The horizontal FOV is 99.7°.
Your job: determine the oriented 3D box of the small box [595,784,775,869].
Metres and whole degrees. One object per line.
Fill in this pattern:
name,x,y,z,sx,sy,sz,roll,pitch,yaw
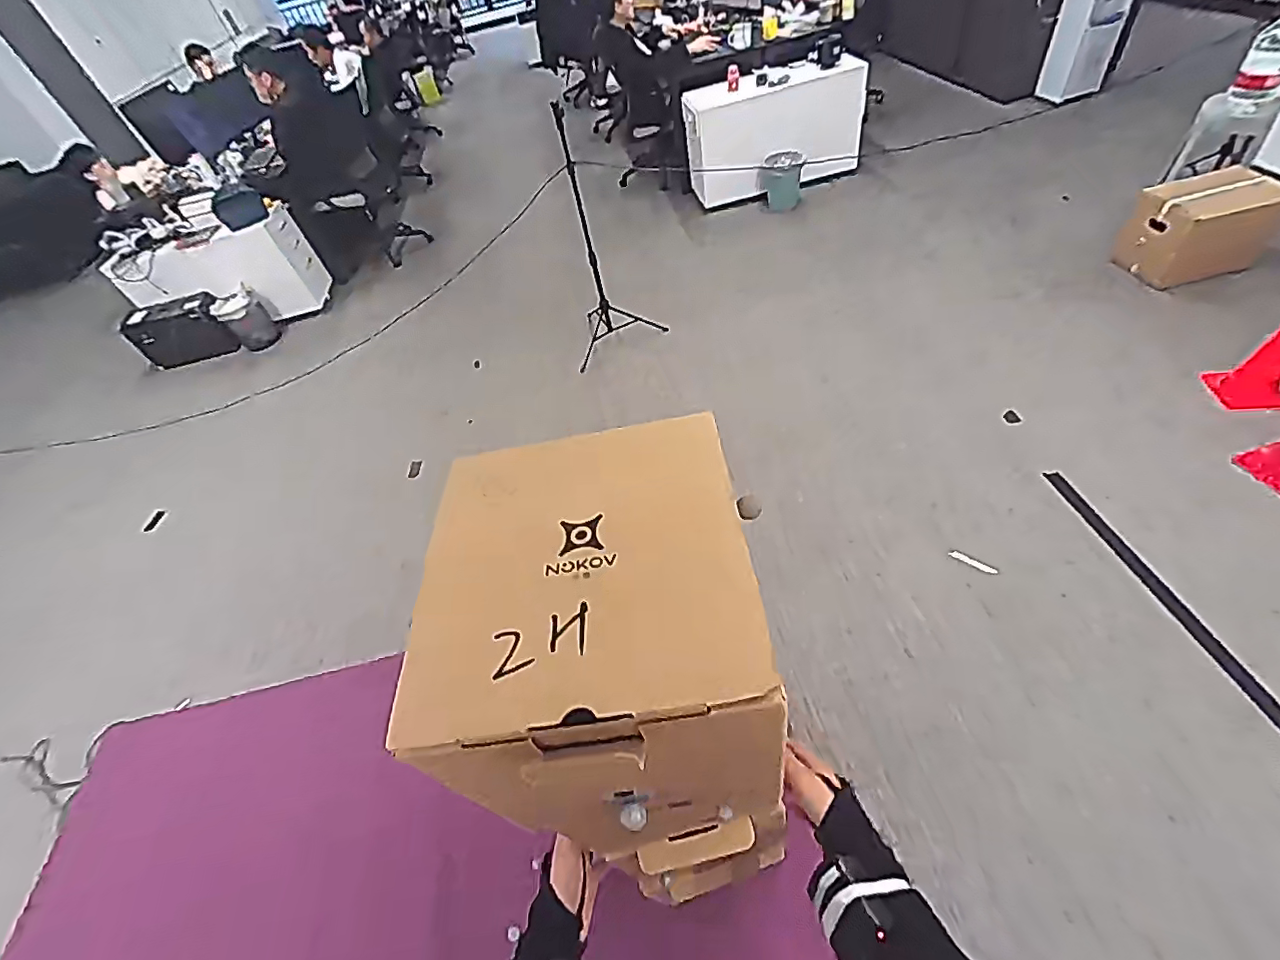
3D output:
small box,0.040,0.294,0.580,0.168,0.176,0.179,-16,46,0

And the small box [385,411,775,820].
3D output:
small box,-0.018,0.086,0.334,0.168,0.176,0.179,-10,48,5

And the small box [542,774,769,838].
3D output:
small box,0.008,0.185,0.463,0.168,0.176,0.179,-14,47,1
